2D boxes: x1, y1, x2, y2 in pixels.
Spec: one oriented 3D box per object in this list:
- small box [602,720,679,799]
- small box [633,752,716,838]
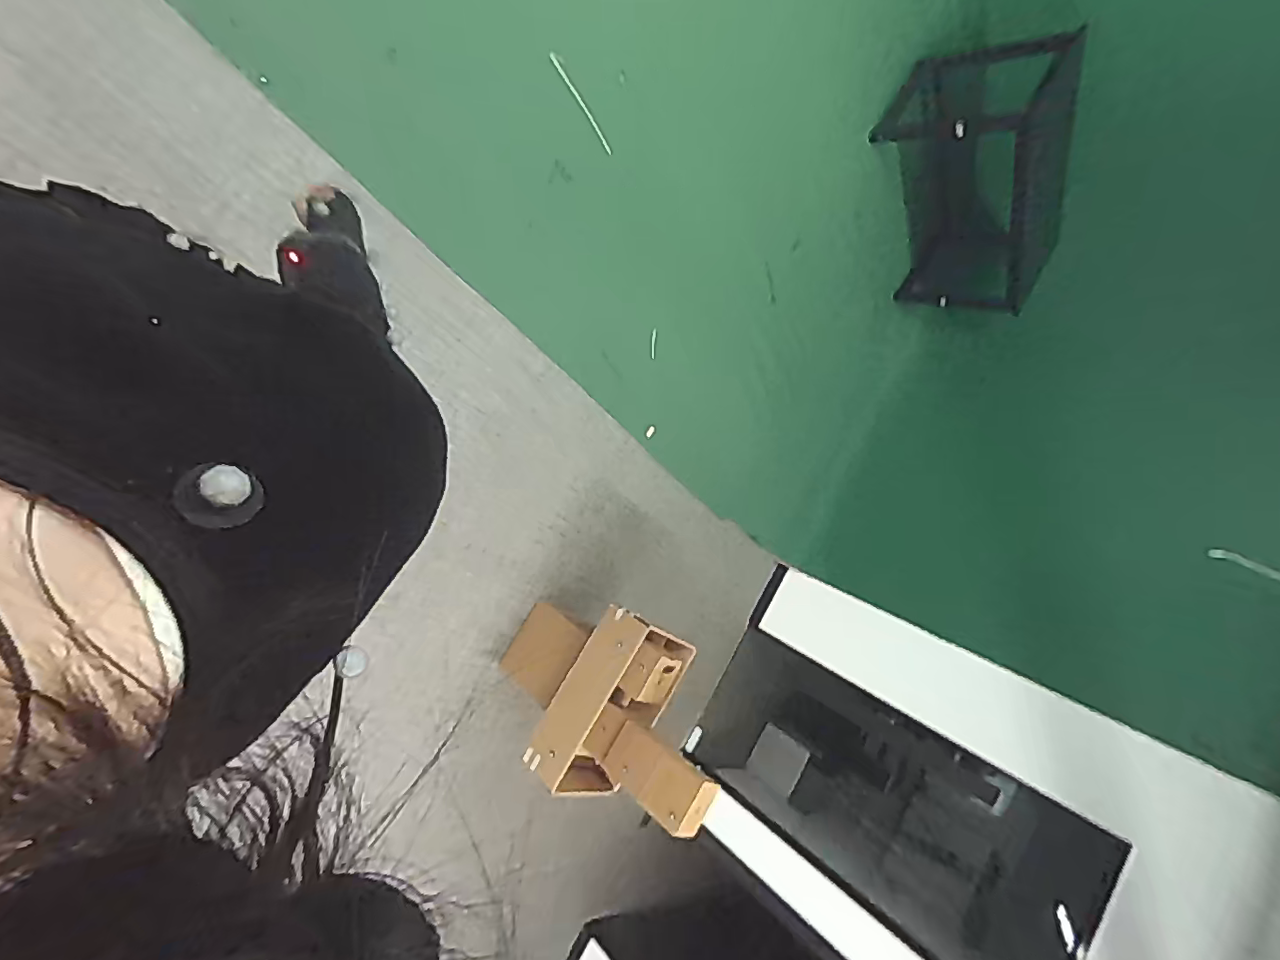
[{"bbox_3d":[-0.004,0.950,1.832,0.179,0.176,0.168,-57,140,-13],"label":"small box"},{"bbox_3d":[0.109,1.004,1.730,0.179,0.176,0.168,-55,140,-13],"label":"small box"}]
